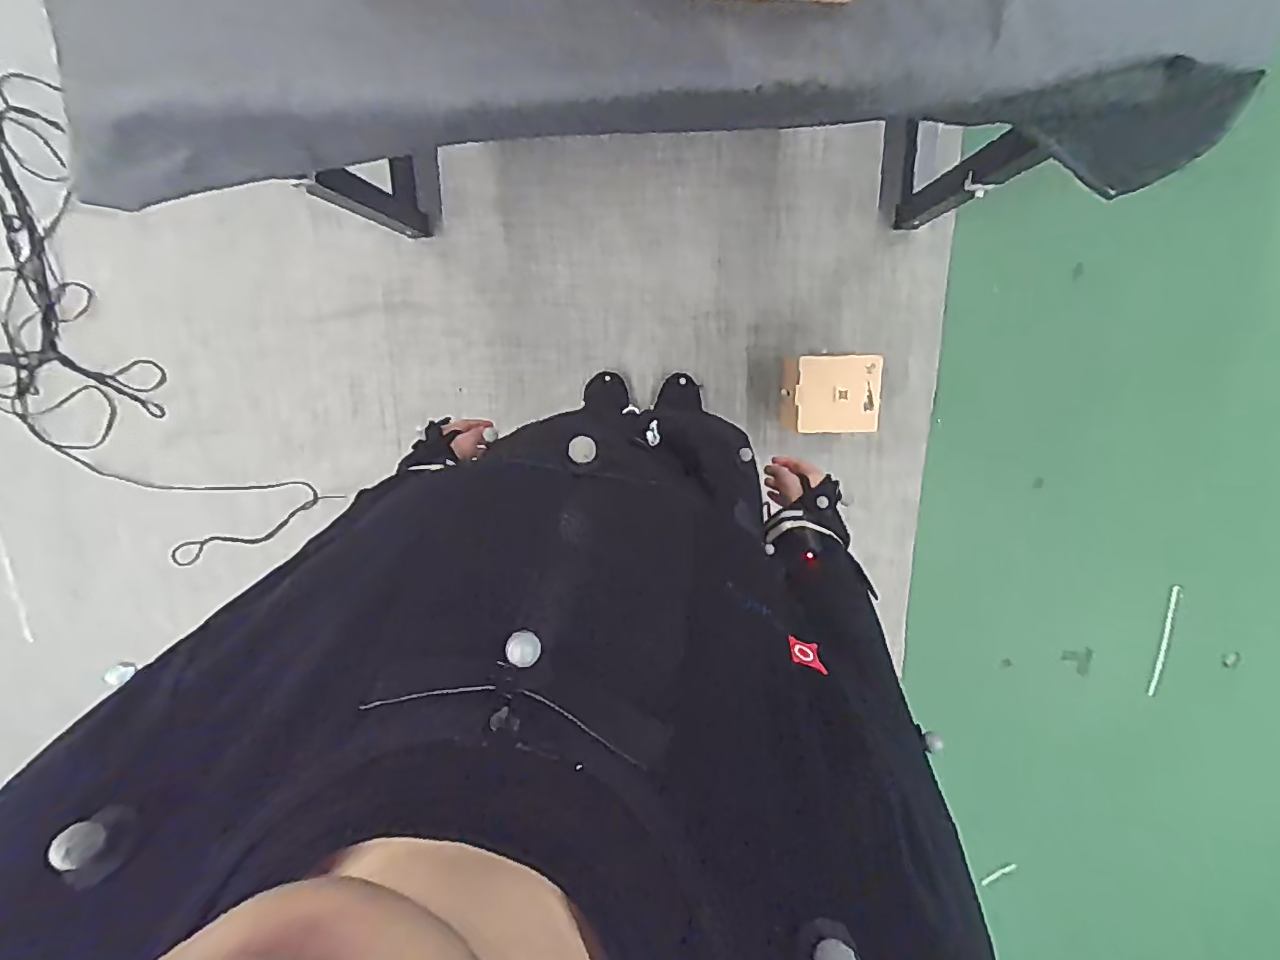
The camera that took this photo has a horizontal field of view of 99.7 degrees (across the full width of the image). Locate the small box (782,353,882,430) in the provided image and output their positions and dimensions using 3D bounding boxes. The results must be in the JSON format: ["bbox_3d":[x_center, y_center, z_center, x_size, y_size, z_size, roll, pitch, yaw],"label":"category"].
[{"bbox_3d":[0.426,-0.202,1.229,0.179,0.176,0.168,0,102,3],"label":"small box"}]
